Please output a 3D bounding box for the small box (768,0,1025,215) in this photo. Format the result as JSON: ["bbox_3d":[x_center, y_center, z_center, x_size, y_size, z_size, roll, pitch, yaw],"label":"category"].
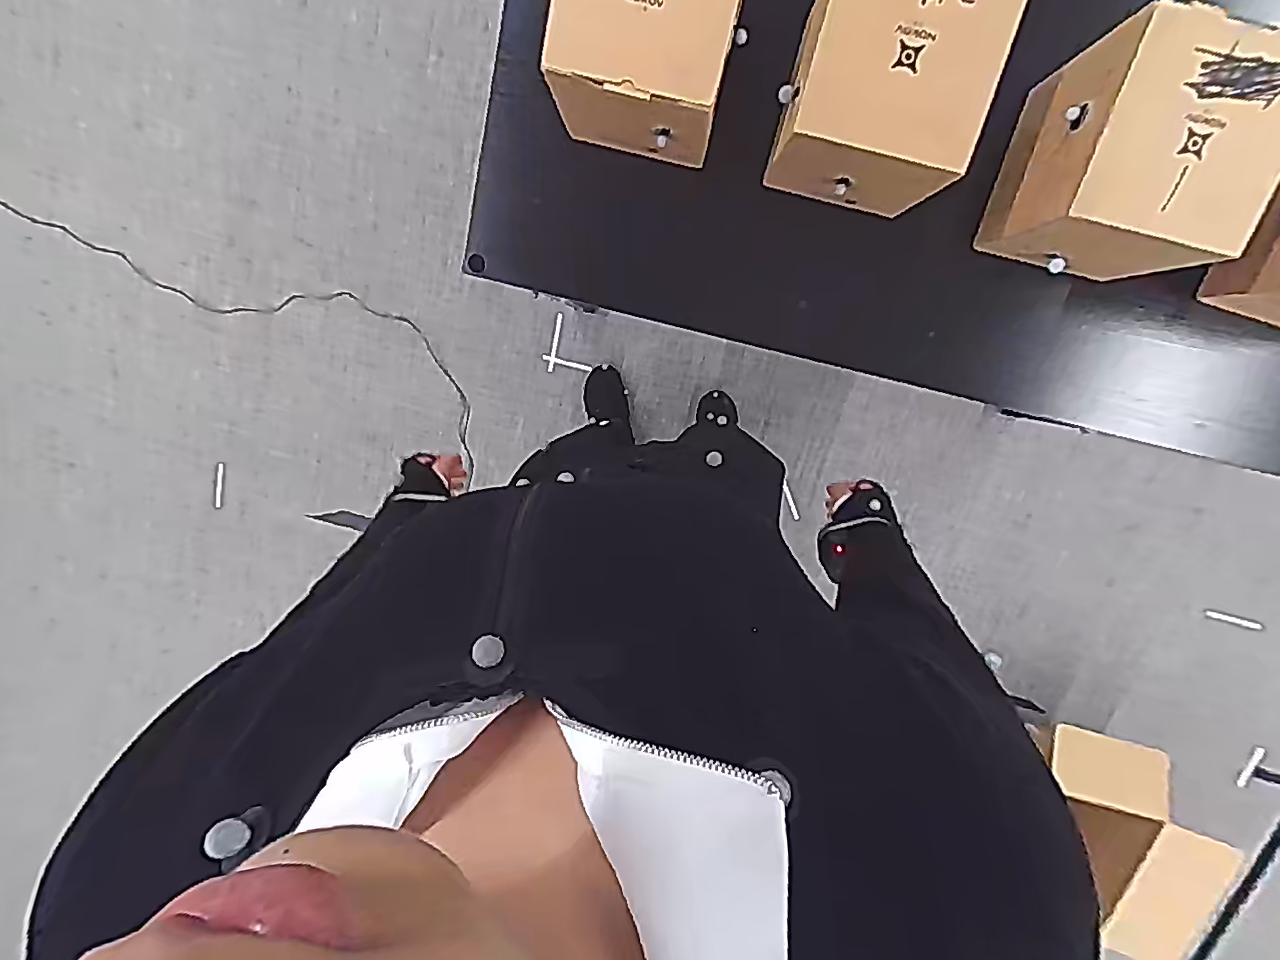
[{"bbox_3d":[0.242,-0.397,0.557,0.168,0.176,0.179,14,103,-1],"label":"small box"}]

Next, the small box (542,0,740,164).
[{"bbox_3d":[0.010,-0.458,0.557,0.168,0.176,0.179,13,102,-1],"label":"small box"}]

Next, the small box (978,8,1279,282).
[{"bbox_3d":[0.496,-0.322,0.561,0.168,0.176,0.179,15,104,0],"label":"small box"}]

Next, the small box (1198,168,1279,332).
[{"bbox_3d":[0.767,-0.249,0.564,0.179,0.176,0.168,17,103,0],"label":"small box"}]
